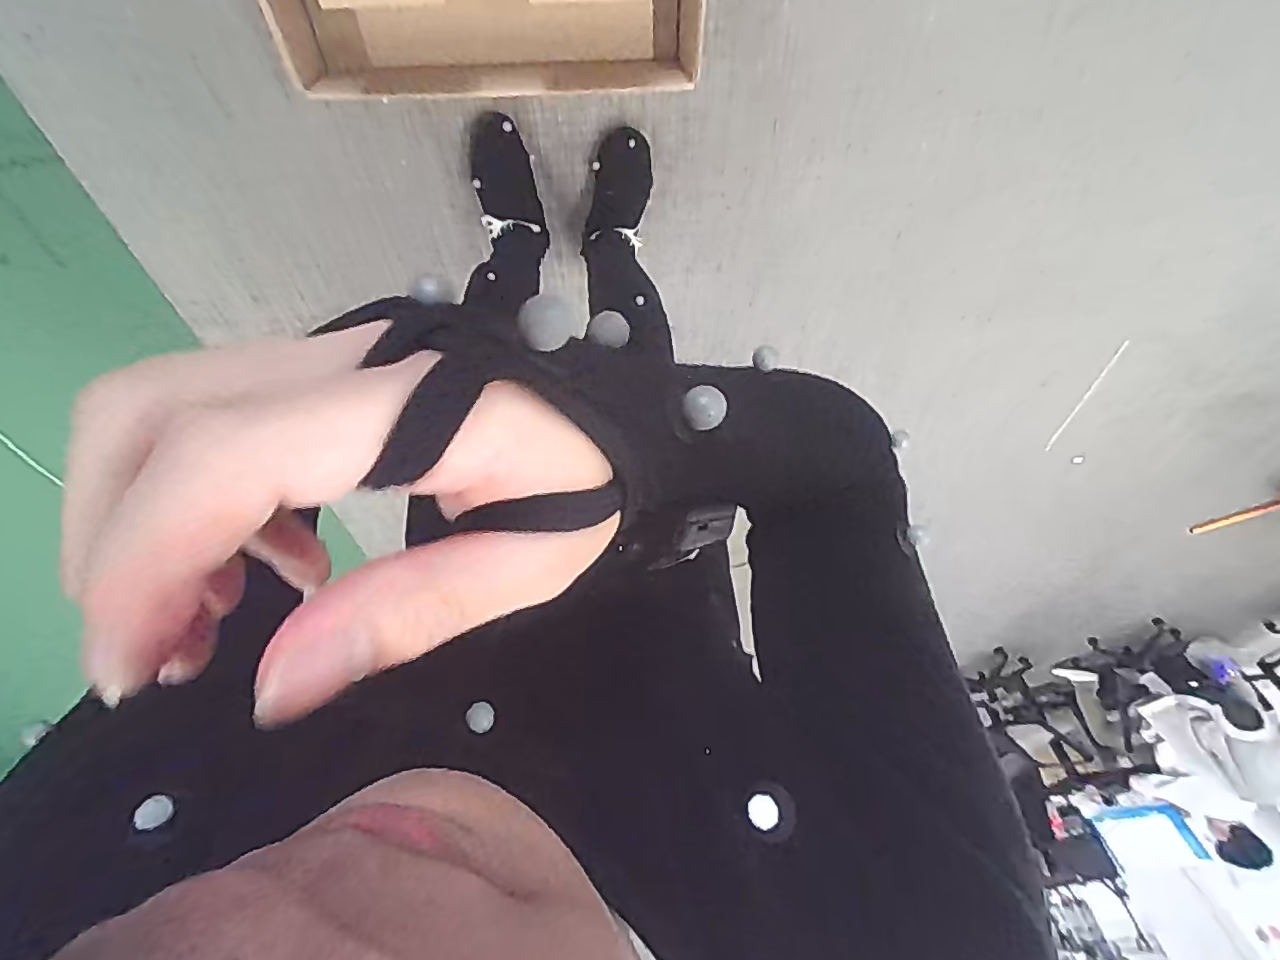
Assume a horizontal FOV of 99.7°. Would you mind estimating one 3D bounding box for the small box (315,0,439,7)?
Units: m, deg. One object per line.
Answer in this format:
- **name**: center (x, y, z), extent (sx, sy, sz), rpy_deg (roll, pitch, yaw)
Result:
- **small box**: center (-0.359, -0.752, 0.710), extent (0.168, 0.176, 0.179), rpy_deg (-6, 139, -5)
